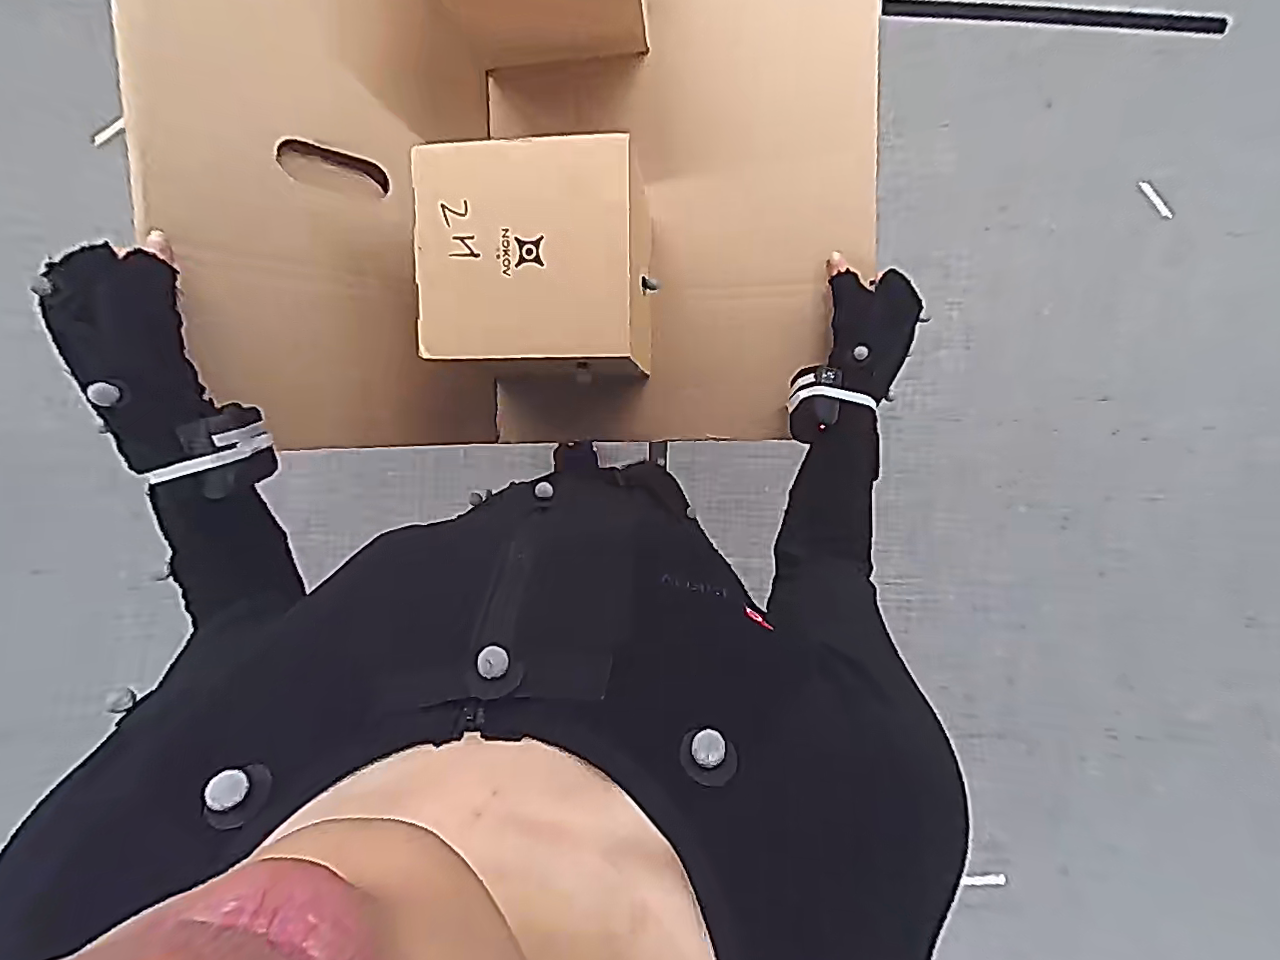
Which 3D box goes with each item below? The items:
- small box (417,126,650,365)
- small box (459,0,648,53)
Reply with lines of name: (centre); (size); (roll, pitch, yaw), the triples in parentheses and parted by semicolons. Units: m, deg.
small box: (-0.084, -0.201, 0.509); (0.179, 0.176, 0.168); (2, 96, 7)
small box: (-0.089, -0.519, 0.476); (0.179, 0.176, 0.168); (-1, 96, 6)
